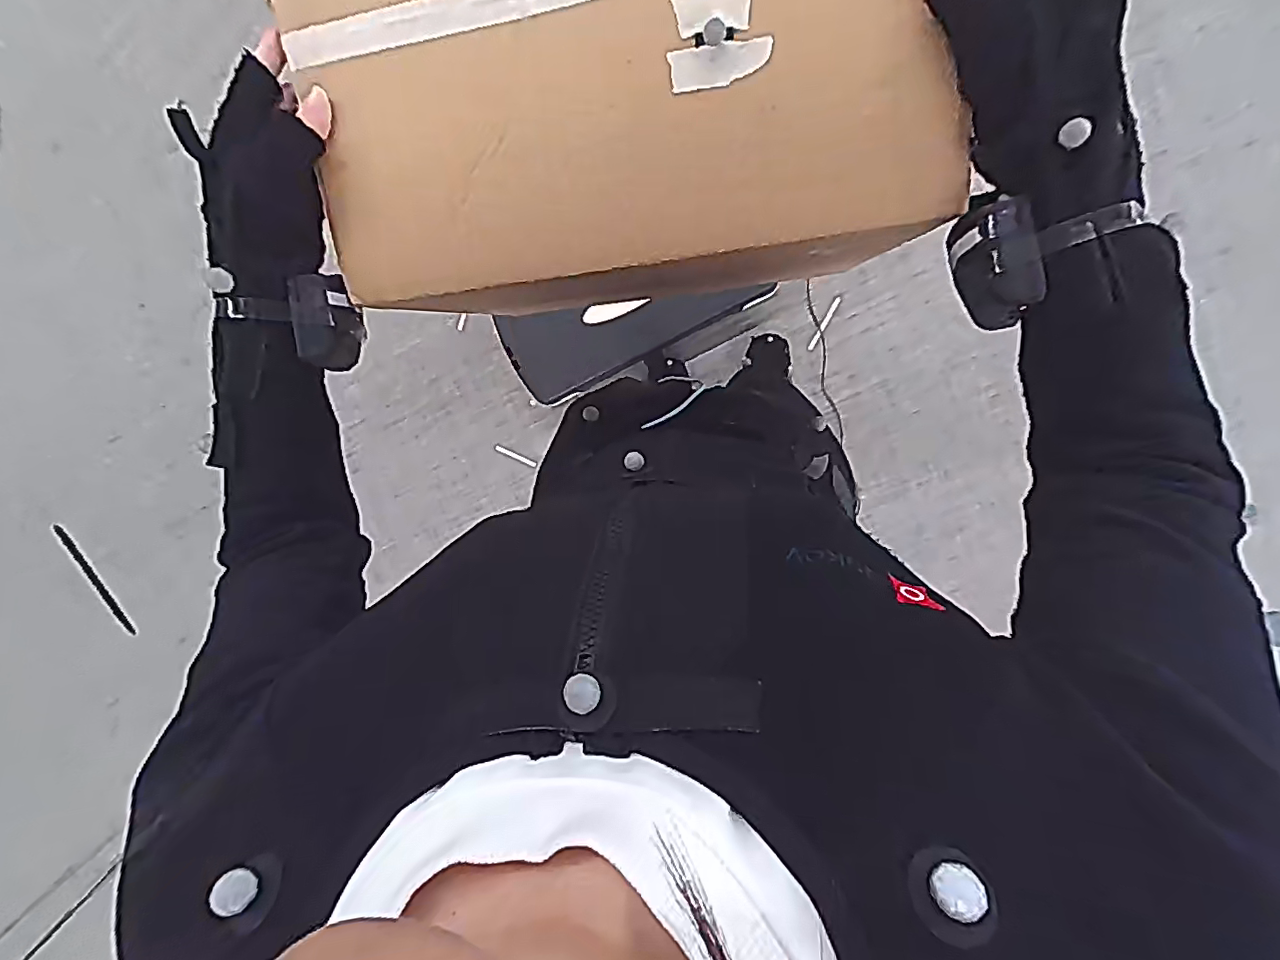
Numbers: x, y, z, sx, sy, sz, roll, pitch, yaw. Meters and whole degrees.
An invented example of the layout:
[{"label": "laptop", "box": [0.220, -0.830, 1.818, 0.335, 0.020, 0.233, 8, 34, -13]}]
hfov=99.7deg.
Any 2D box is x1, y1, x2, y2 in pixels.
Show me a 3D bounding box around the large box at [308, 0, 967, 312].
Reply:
[{"label": "large box", "box": [0.002, -0.337, 0.466, 0.408, 0.320, 0.320, -5, 105, 9]}]
